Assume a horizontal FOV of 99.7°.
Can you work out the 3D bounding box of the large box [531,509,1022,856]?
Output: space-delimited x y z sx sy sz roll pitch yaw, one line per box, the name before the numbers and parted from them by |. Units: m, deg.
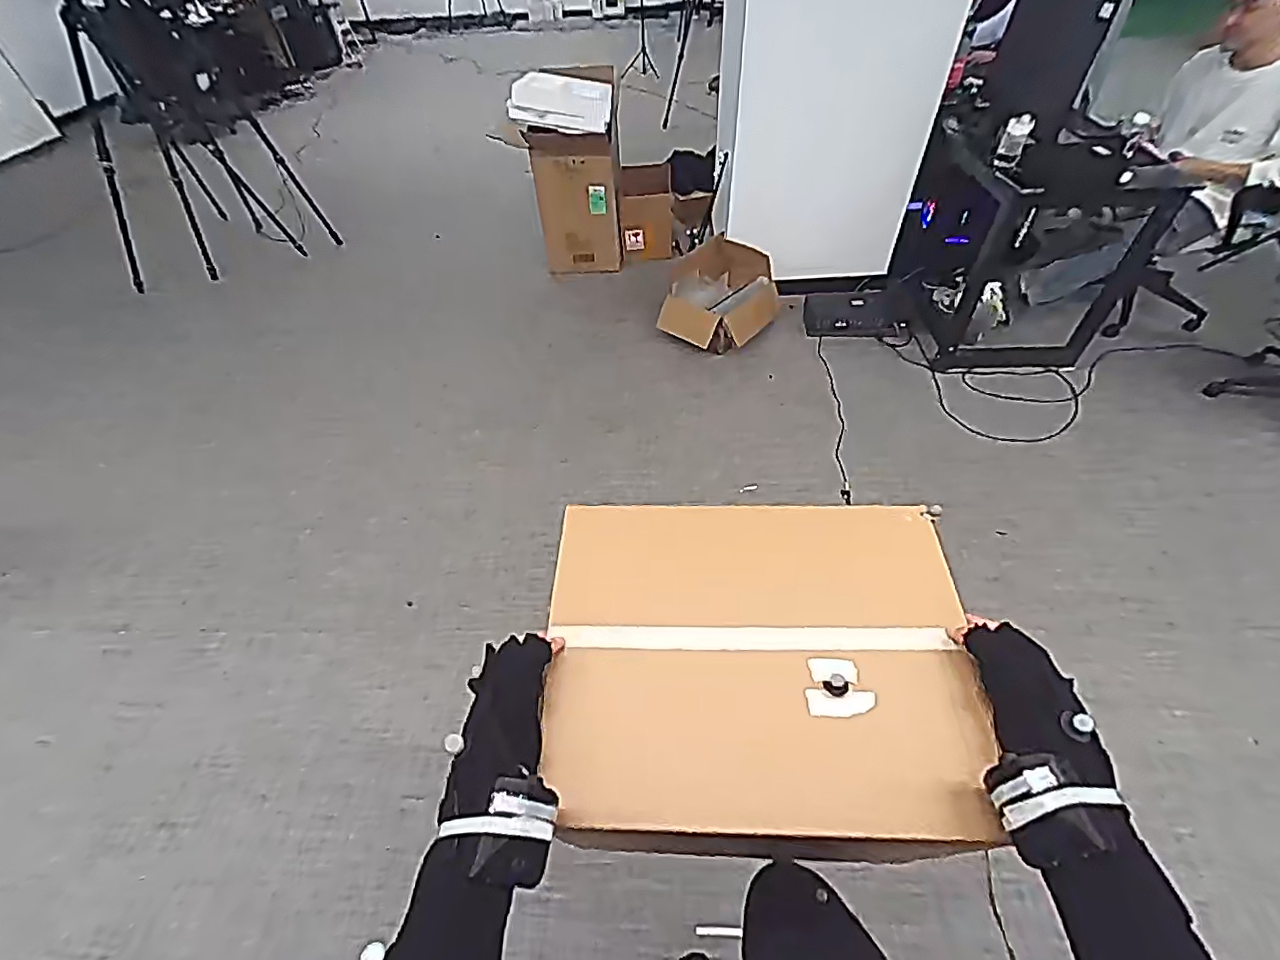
large box | 0.114 0.247 0.642 0.408 0.320 0.320 0 53 3
